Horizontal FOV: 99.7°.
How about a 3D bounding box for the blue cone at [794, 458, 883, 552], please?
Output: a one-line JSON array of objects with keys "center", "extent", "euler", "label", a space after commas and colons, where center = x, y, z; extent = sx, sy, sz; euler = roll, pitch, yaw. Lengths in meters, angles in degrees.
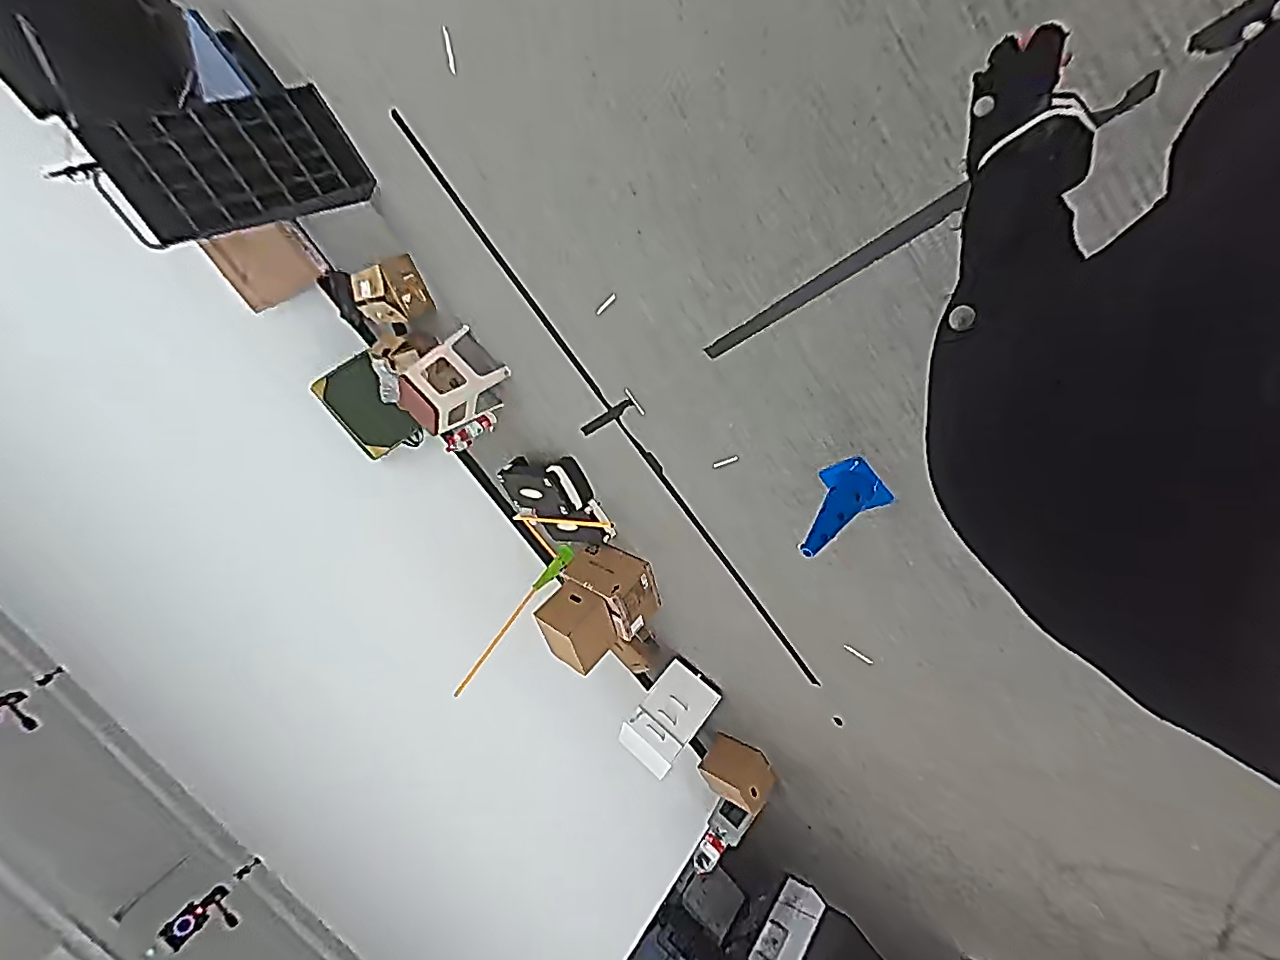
[{"center": [0.620, 0.113, 1.783], "extent": [0.192, 0.380, 0.193], "euler": [51, 149, -5], "label": "blue cone"}]
